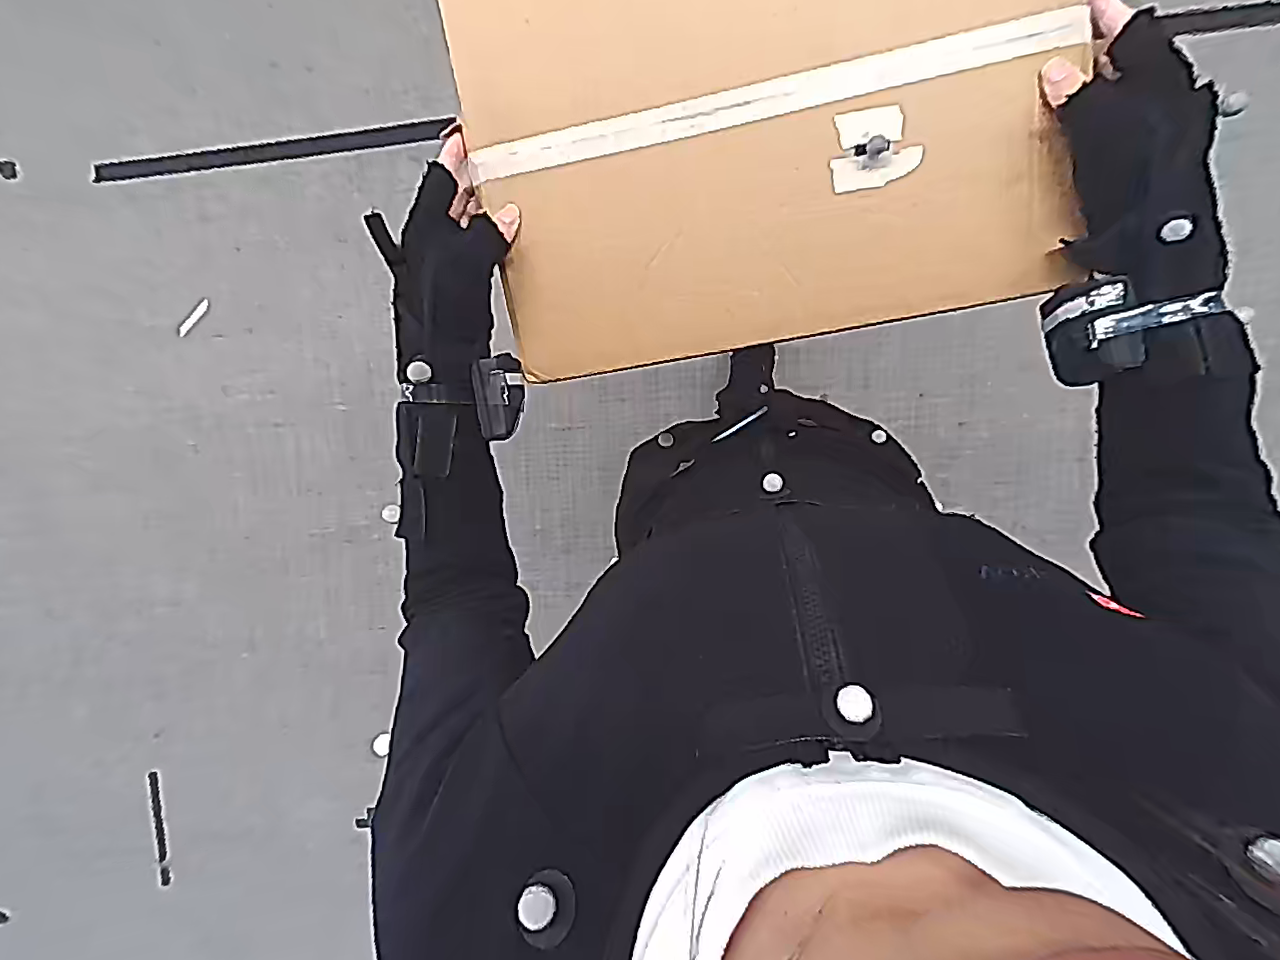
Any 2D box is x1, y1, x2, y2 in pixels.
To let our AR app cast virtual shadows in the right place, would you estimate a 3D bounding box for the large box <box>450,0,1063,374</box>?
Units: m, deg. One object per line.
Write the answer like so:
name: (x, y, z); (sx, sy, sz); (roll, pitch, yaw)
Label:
large box: (0.091, -0.297, 0.523); (0.408, 0.320, 0.320); (-9, 103, 6)
